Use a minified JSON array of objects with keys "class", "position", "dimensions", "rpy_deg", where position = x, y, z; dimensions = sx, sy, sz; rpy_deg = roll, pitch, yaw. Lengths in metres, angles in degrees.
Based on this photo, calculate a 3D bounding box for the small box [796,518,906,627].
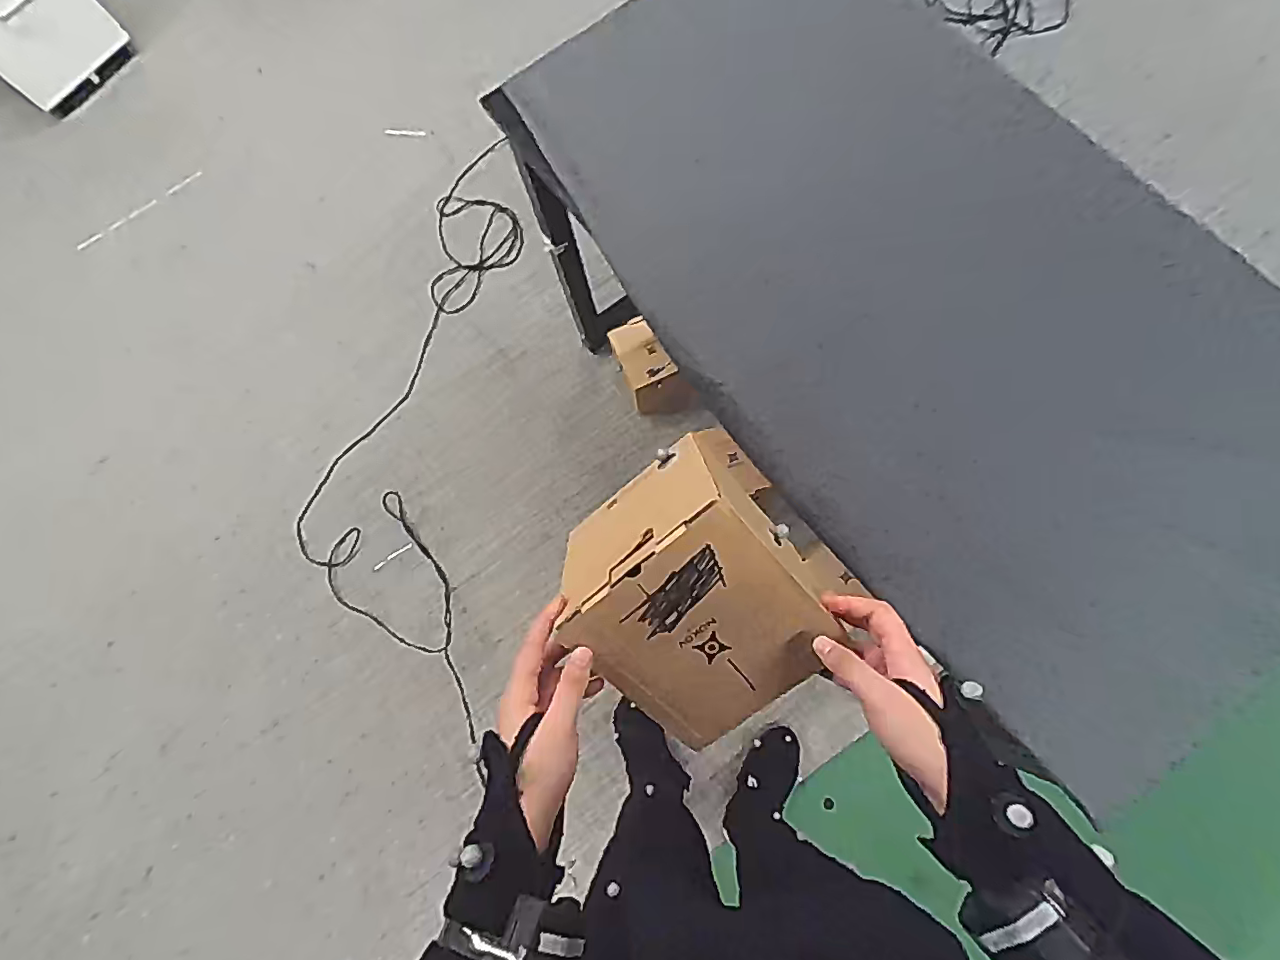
[{"class":"small box","position":[0.454,0.215,1.227],"dimensions":[0.179,0.176,0.168],"rpy_deg":[-40,76,-6]}]

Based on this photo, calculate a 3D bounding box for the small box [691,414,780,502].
[{"class":"small box","position":[0.225,-0.034,1.316],"dimensions":[0.168,0.176,0.179],"rpy_deg":[-16,73,0]}]

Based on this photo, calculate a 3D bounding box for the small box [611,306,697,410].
[{"class":"small box","position":[0.037,-0.311,1.407],"dimensions":[0.168,0.176,0.179],"rpy_deg":[-24,73,-1]}]

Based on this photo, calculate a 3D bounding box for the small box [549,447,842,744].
[{"class":"small box","position":[0.041,0.088,0.495],"dimensions":[0.168,0.176,0.179],"rpy_deg":[-41,107,12]}]
